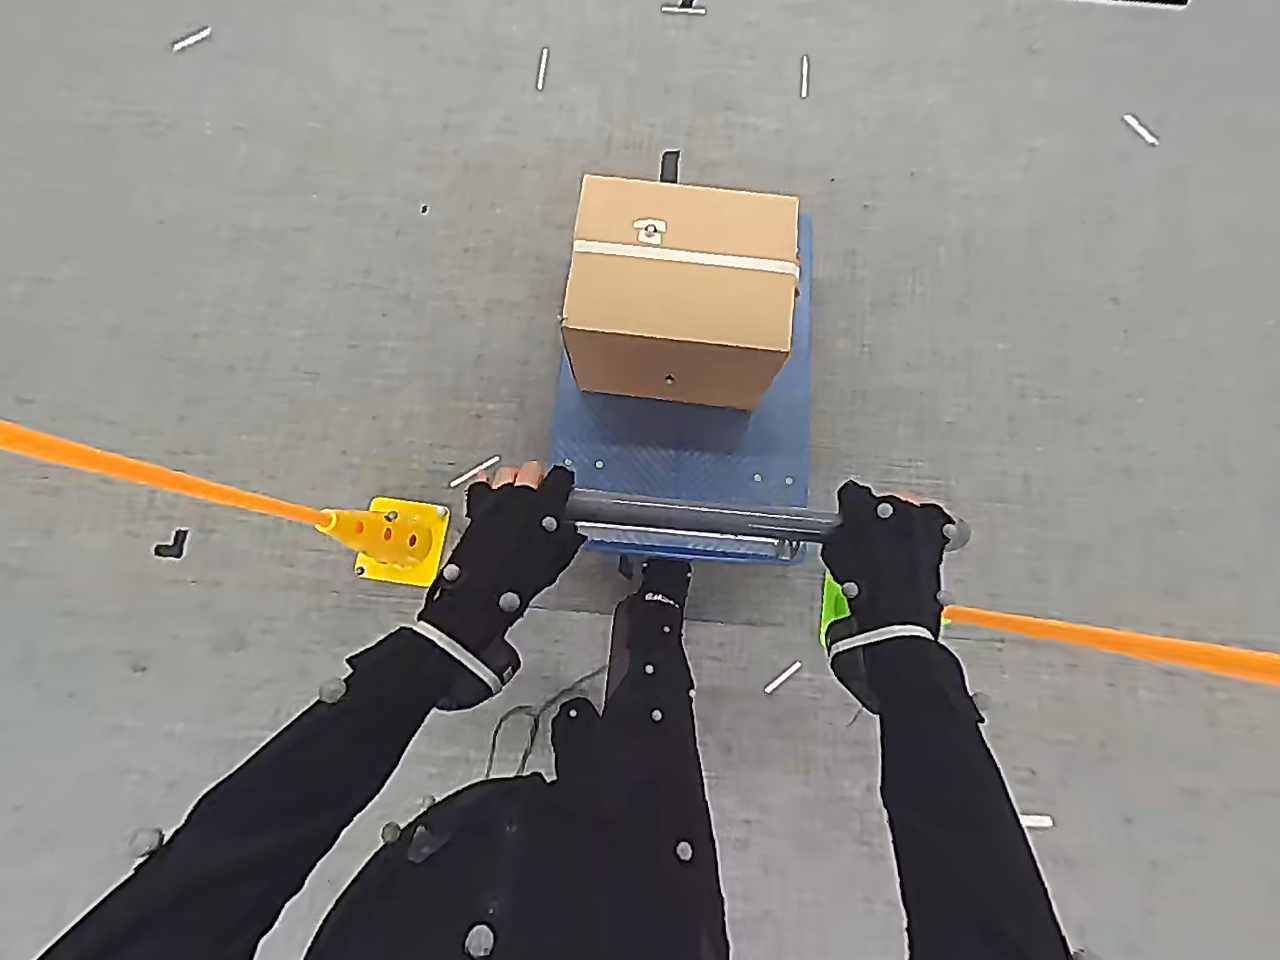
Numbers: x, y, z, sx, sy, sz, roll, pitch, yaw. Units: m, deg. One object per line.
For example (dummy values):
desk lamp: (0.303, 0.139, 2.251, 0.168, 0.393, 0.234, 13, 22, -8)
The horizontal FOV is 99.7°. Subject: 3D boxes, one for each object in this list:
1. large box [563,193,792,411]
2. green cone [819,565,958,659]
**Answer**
large box: (0.077, -0.349, 1.135, 0.408, 0.320, 0.320, 7, 78, 2)
green cone: (0.541, 0.281, 1.142, 0.202, 0.368, 0.200, 9, 77, 1)
